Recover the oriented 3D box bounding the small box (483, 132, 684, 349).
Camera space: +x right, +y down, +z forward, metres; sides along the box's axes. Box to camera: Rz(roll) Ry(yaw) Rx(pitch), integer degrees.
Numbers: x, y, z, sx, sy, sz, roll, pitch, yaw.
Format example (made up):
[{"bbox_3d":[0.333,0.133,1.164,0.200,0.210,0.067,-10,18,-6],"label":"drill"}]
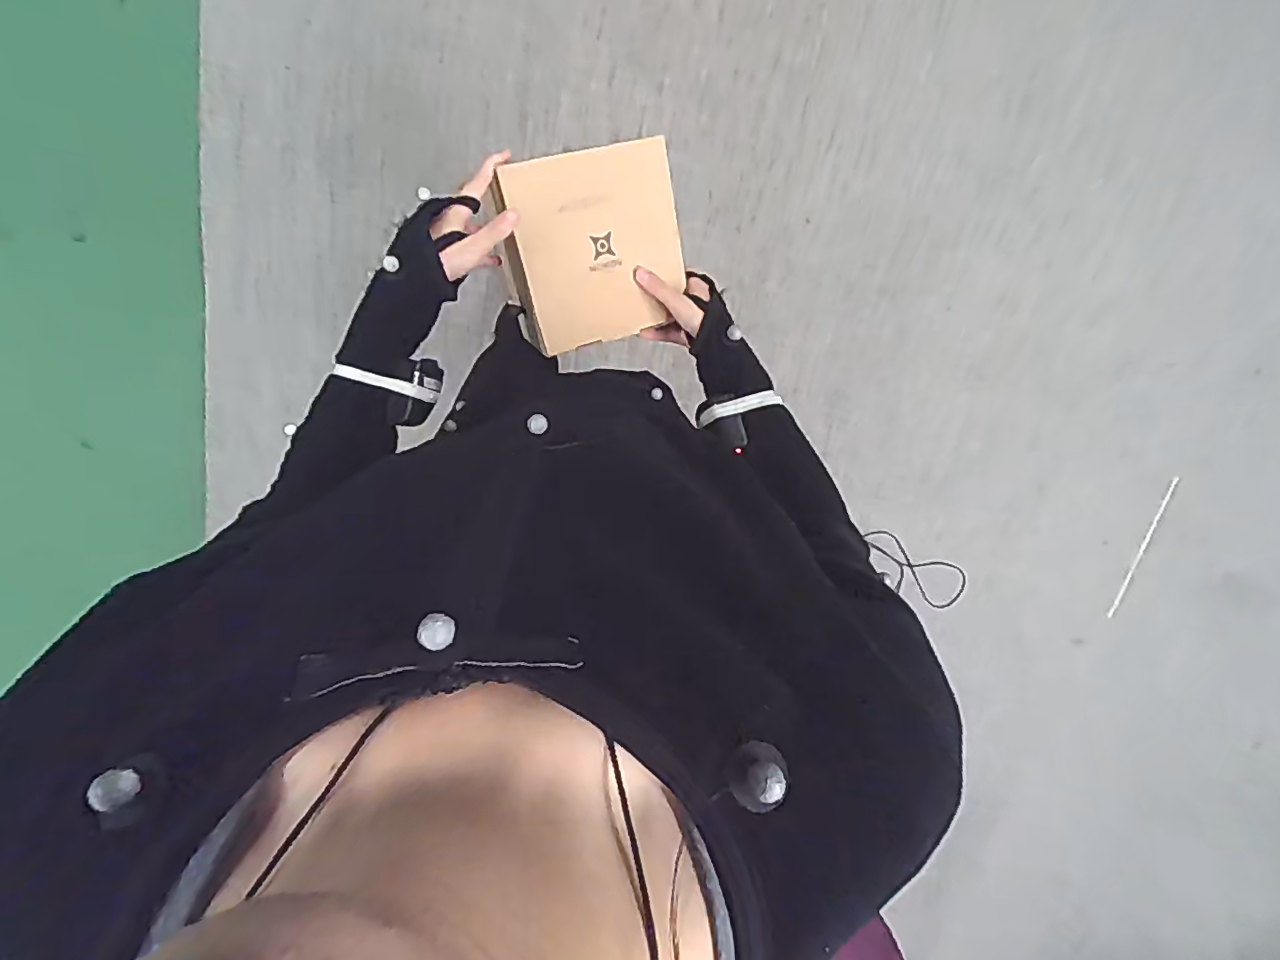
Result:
[{"bbox_3d":[-0.067,-0.261,0.600,0.168,0.176,0.179,-18,116,-13],"label":"small box"}]
